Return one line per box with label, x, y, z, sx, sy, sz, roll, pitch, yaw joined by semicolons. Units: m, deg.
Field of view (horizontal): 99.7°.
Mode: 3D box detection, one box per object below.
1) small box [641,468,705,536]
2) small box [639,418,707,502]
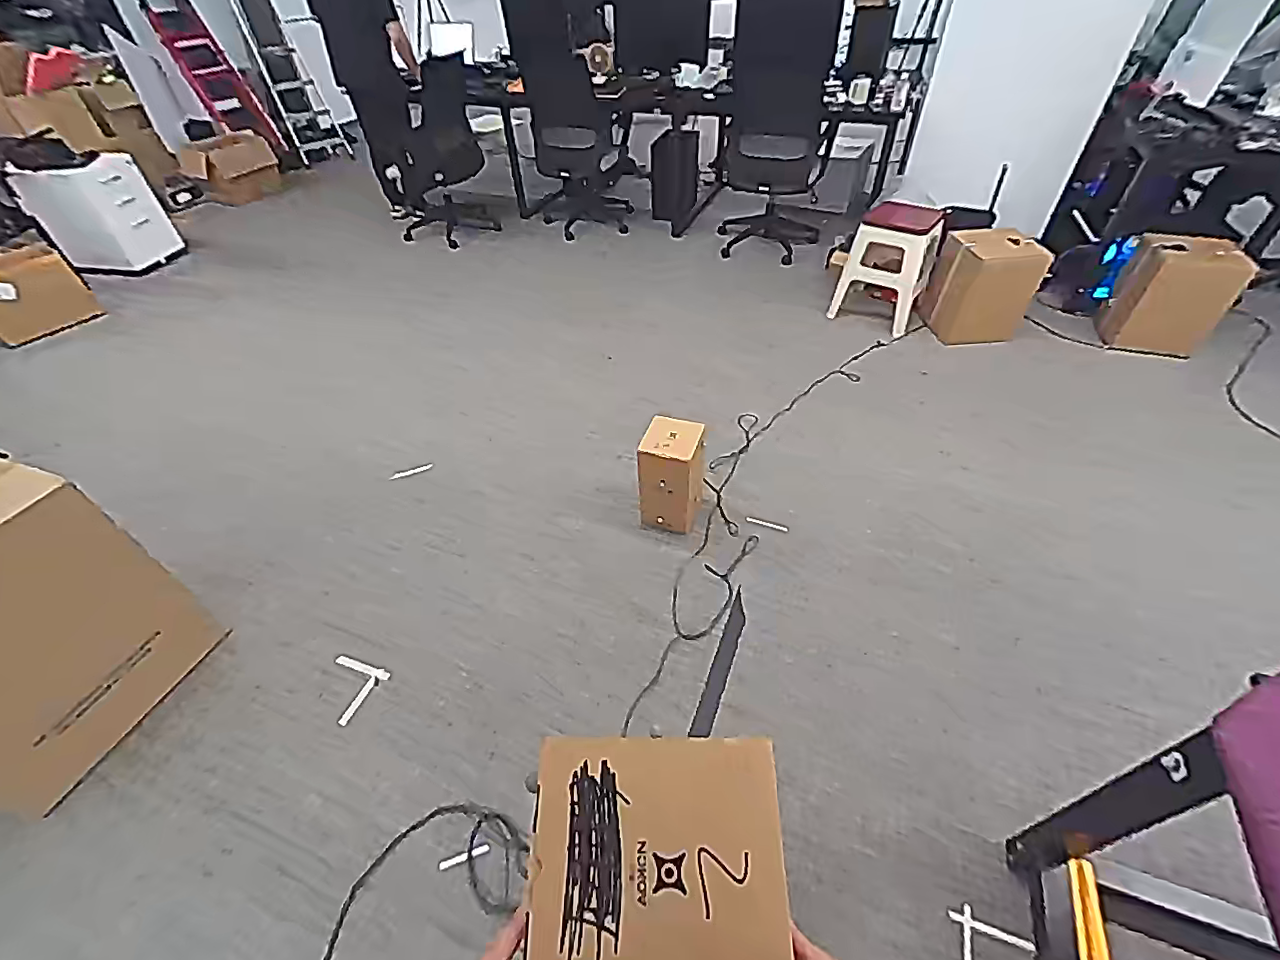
small box;0.109;0.055;1.796;0.168;0.176;0.179;14;48;17
small box;0.103;-0.063;1.680;0.168;0.176;0.179;12;47;16
